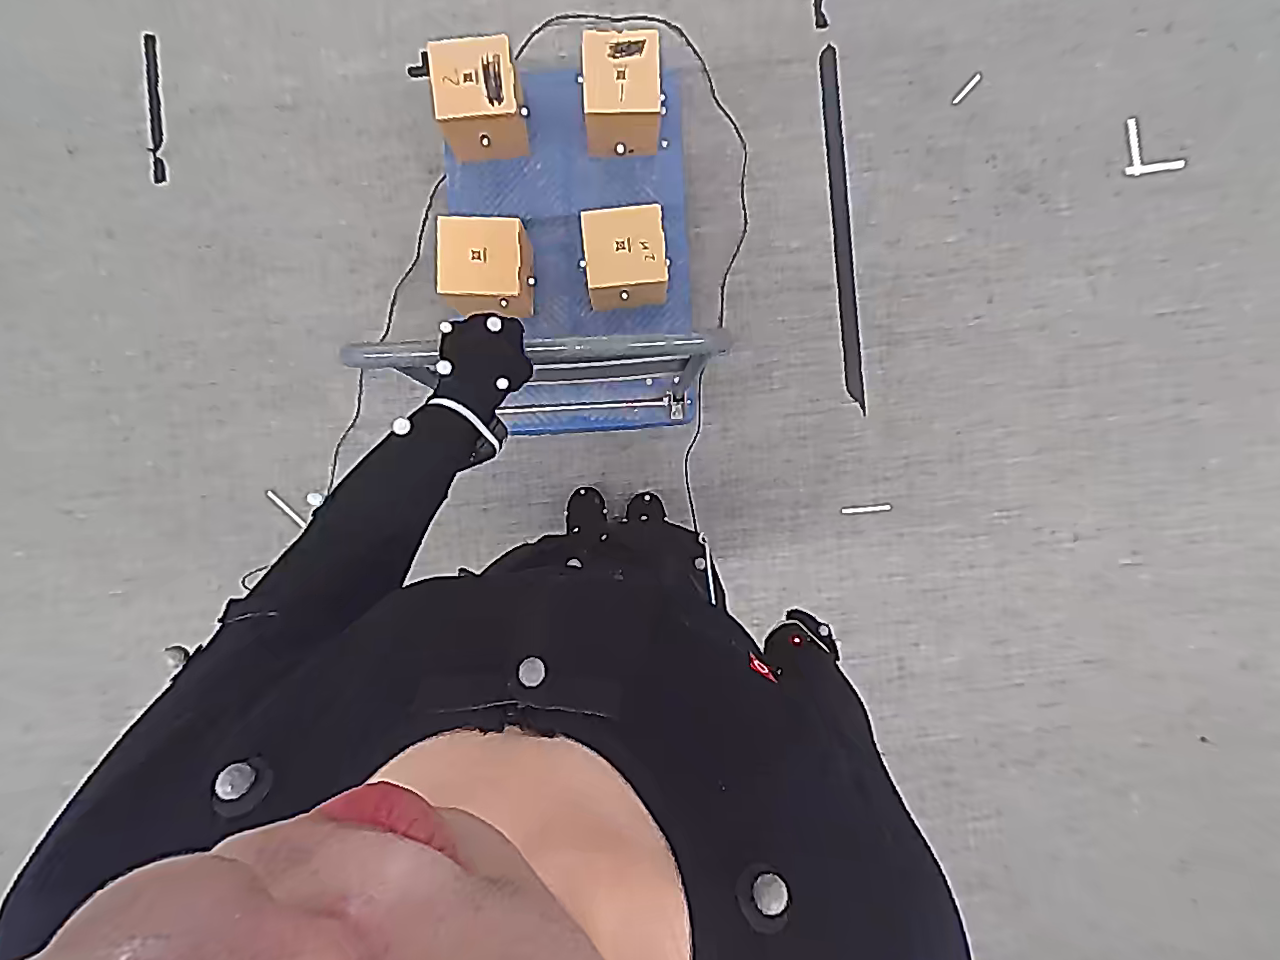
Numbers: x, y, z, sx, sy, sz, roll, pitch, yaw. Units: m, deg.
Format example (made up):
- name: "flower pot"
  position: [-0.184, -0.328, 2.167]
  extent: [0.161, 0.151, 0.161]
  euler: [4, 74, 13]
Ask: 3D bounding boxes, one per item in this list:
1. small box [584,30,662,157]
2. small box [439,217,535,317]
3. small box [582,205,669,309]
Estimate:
- name: "small box"
  position: [-0.039, -0.869, 1.226]
  extent: [0.168, 0.176, 0.179]
  euler: [-2, 92, -1]
- name: "small box"
  position: [-0.340, -0.475, 1.224]
  extent: [0.179, 0.176, 0.168]
  euler: [0, 90, -3]
- name: "small box"
  position: [-0.031, -0.499, 1.231]
  extent: [0.179, 0.176, 0.168]
  euler: [-6, 91, -1]
